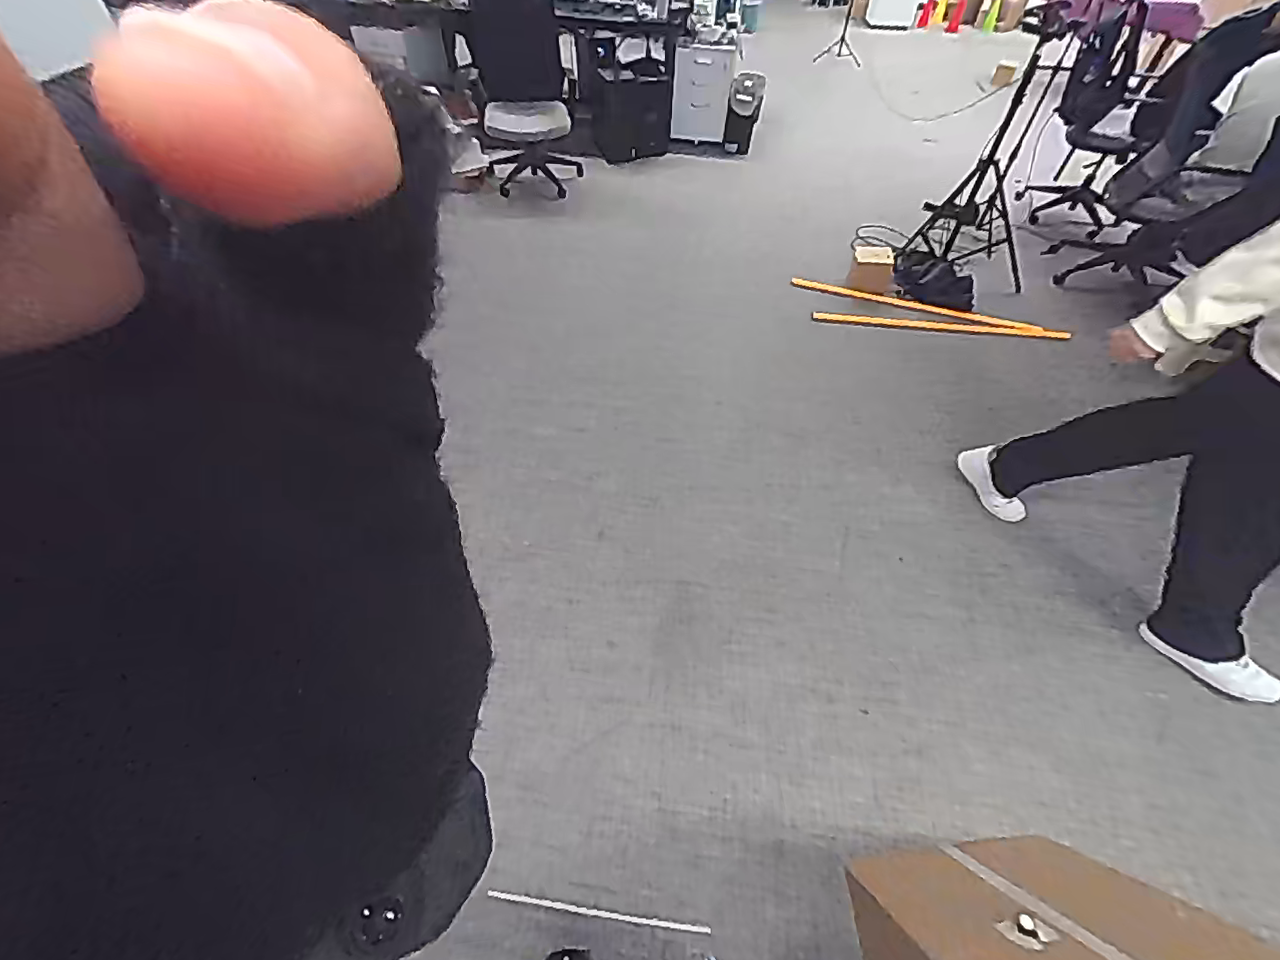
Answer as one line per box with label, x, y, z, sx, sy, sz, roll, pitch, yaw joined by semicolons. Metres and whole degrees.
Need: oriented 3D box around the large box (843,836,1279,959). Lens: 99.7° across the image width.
large box;0.472;0.646;0.592;0.320;0.408;0.320;-6;73;-2
